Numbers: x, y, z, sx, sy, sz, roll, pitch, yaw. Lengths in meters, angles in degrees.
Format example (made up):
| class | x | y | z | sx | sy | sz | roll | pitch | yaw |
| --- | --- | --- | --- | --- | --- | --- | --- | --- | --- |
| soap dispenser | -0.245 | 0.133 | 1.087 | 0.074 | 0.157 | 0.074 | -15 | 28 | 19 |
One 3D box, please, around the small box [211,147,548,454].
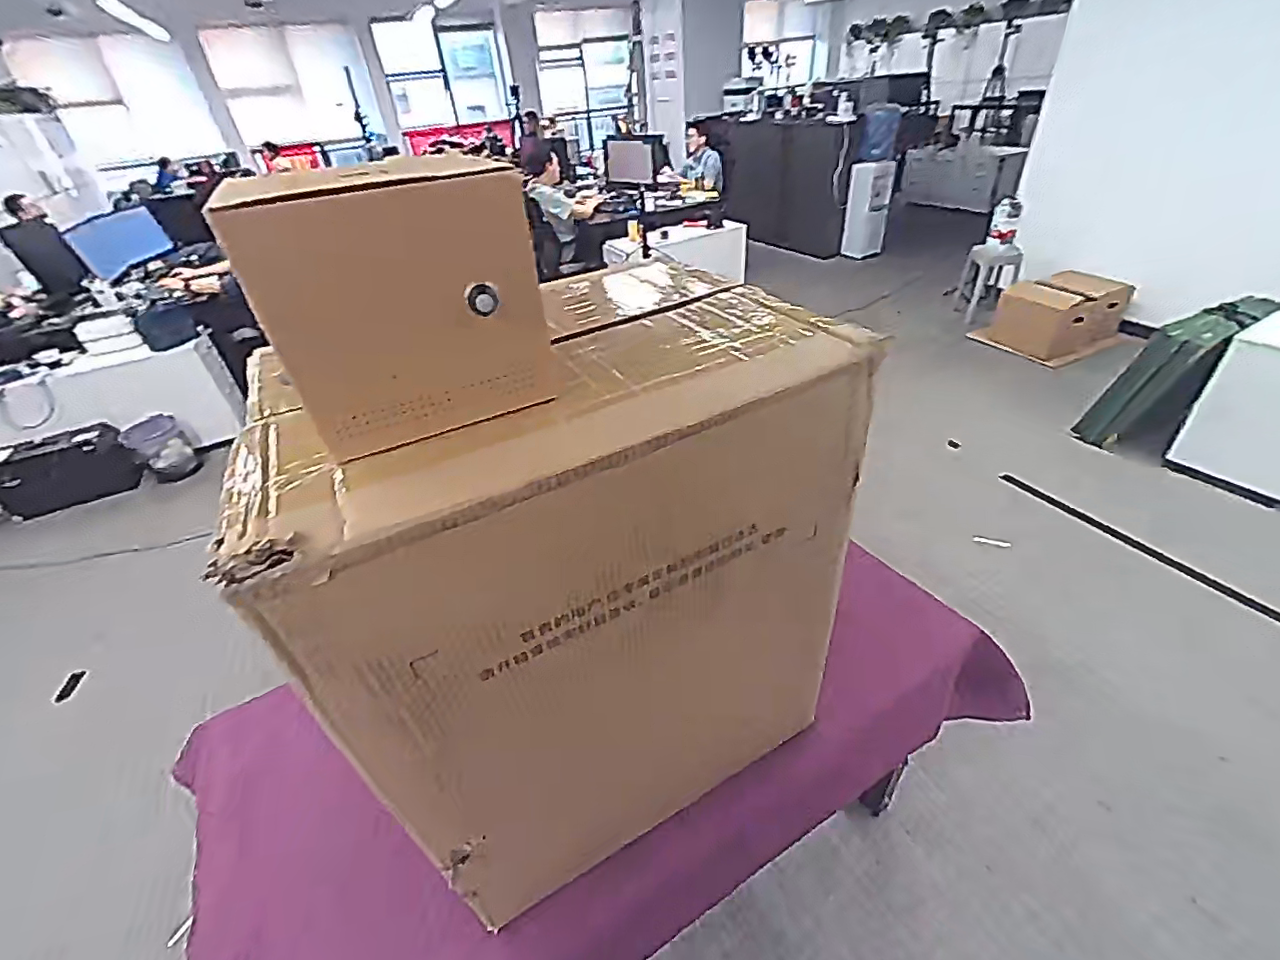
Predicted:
| class | x | y | z | sx | sy | sz | roll | pitch | yaw |
| --- | --- | --- | --- | --- | --- | --- | --- | --- | --- |
| small box | -0.182 | -0.146 | 0.417 | 0.179 | 0.176 | 0.168 | -22 | 39 | -21 |
